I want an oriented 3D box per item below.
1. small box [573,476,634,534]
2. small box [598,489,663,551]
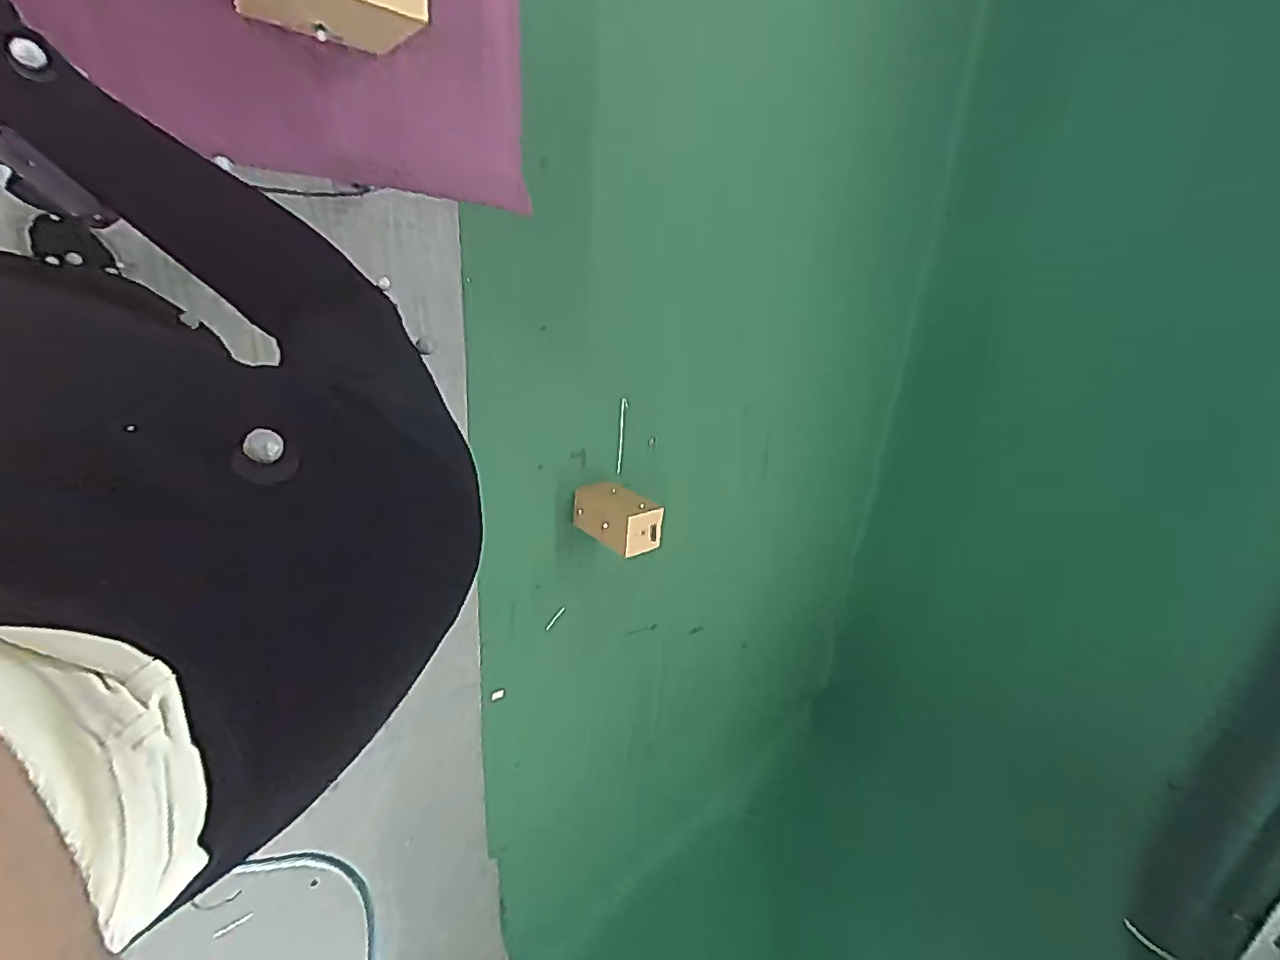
[{"bbox_3d":[-0.147,0.094,2.174,0.179,0.176,0.168,-13,116,-40],"label":"small box"},{"bbox_3d":[-0.037,0.145,2.063,0.179,0.176,0.168,-13,116,-40],"label":"small box"}]
